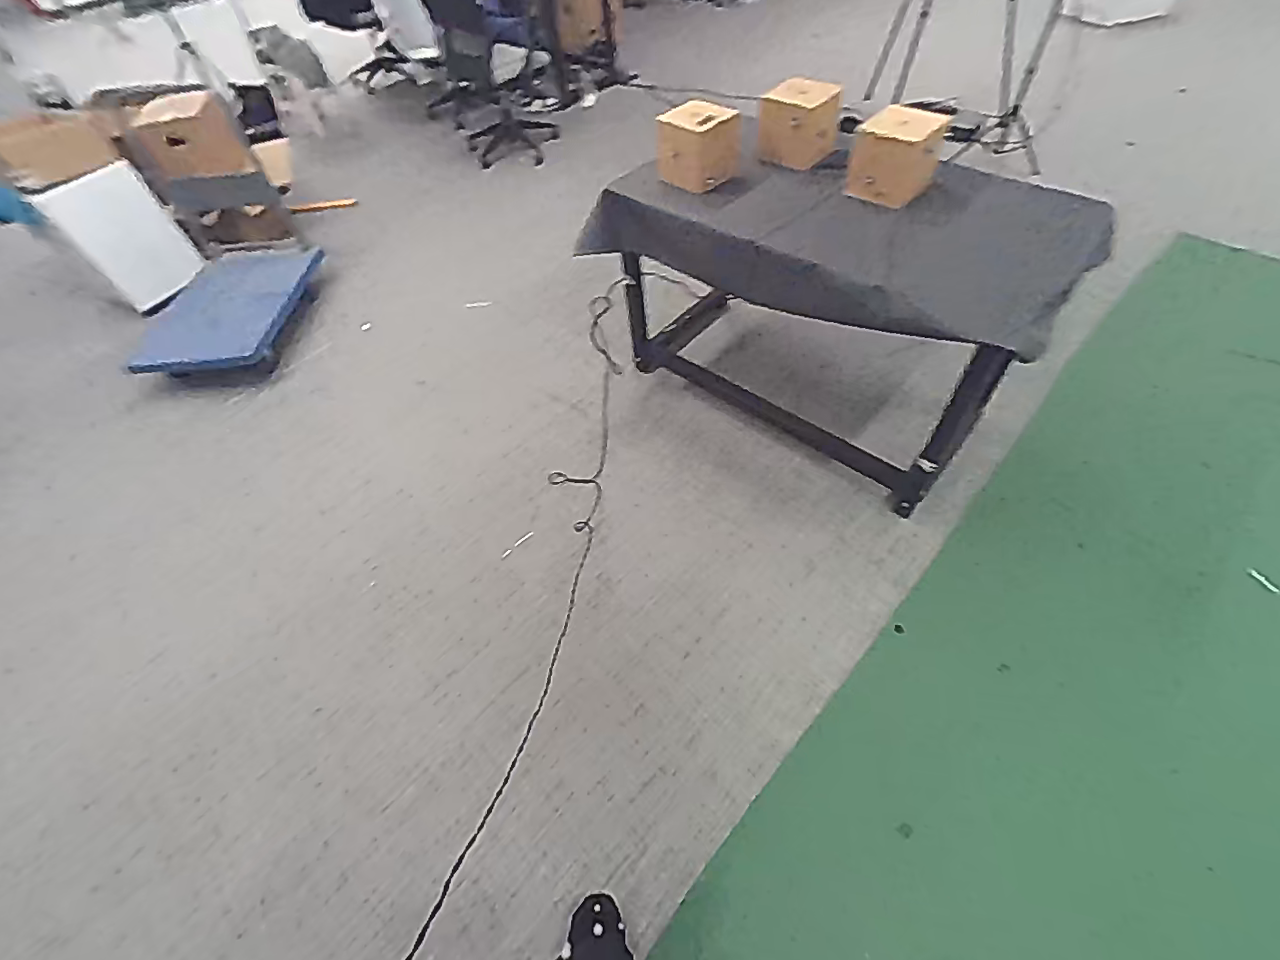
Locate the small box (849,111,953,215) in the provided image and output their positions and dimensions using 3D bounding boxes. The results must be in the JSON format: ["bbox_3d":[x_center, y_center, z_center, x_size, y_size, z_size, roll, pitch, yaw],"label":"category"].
[{"bbox_3d":[0.686,-0.844,1.441,0.168,0.176,0.179,37,66,28],"label":"small box"}]

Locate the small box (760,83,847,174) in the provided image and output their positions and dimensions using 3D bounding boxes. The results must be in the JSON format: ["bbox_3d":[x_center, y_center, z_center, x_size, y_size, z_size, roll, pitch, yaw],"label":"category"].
[{"bbox_3d":[0.478,-1.038,1.603,0.179,0.176,0.168,35,64,28],"label":"small box"}]

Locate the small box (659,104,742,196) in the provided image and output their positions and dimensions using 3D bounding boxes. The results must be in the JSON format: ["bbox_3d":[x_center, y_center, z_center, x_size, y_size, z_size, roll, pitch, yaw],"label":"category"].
[{"bbox_3d":[0.175,-0.958,1.577,0.168,0.176,0.179,-39,58,-22],"label":"small box"}]
